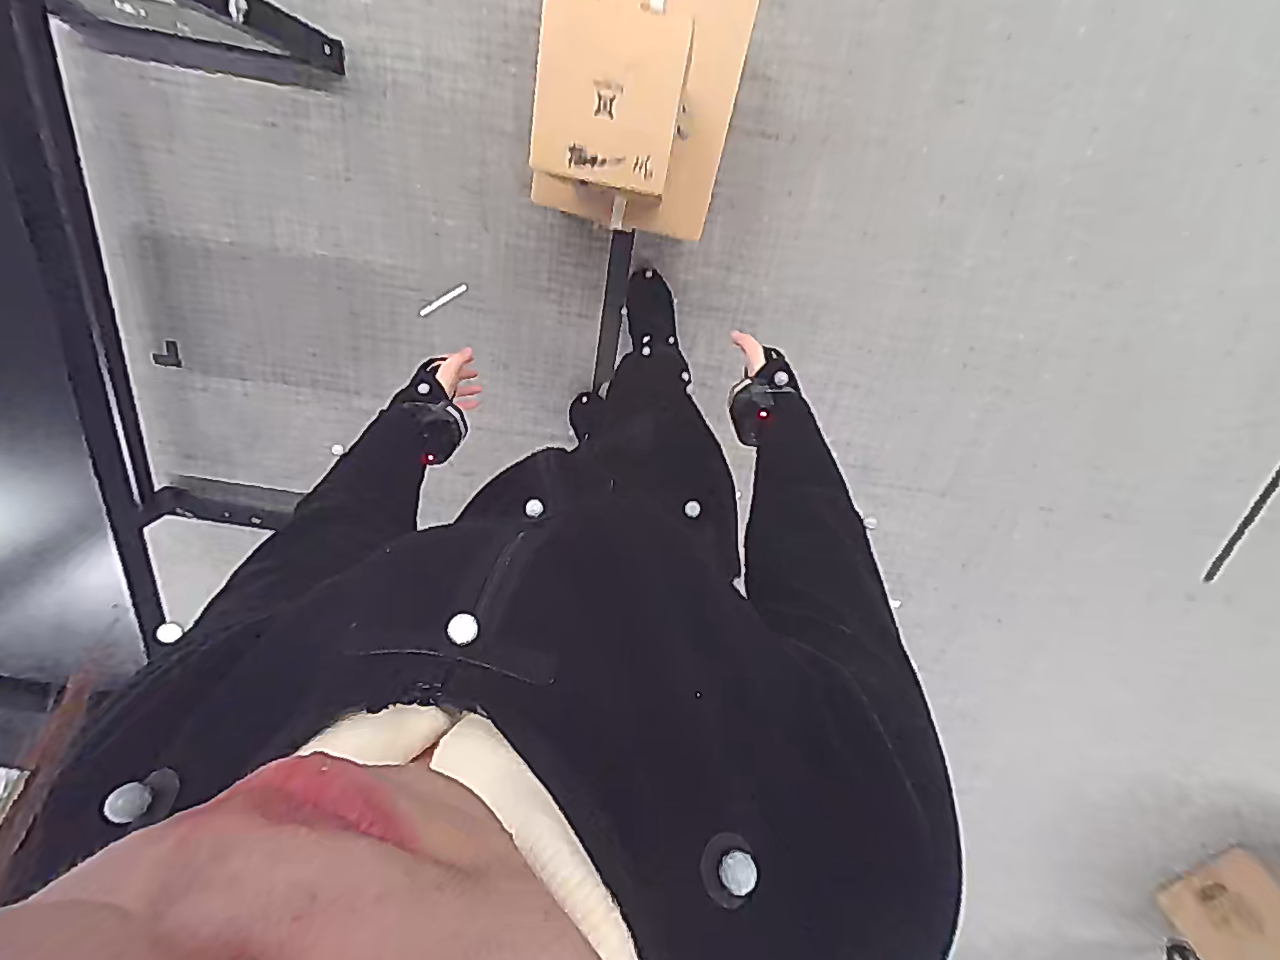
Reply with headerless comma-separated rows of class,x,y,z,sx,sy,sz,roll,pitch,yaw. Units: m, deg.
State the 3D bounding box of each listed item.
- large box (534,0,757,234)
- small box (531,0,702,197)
large box,0.005,-0.706,1.015,0.320,0.320,0.408,12,114,-5
small box,-0.028,-0.471,0.675,0.168,0.176,0.179,12,114,-2
